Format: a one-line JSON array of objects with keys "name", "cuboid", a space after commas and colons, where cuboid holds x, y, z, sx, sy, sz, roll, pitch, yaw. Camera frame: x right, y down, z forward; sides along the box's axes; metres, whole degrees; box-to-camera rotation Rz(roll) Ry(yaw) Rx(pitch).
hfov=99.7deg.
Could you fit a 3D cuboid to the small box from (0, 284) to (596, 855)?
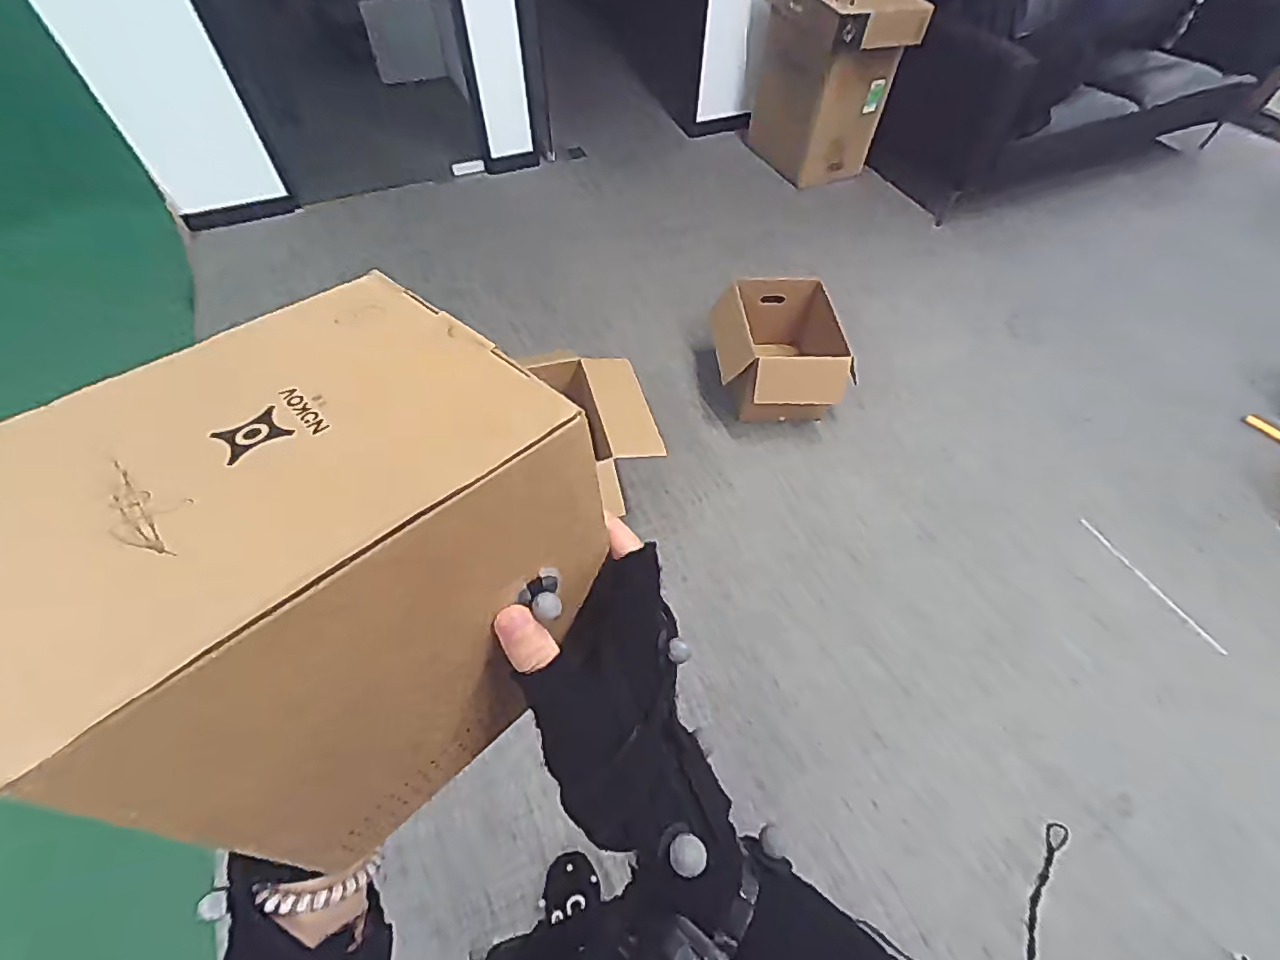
[{"name": "small box", "cuboid": [-0.136, 0.038, 0.266, 0.179, 0.176, 0.168, -38, 56, -25]}]
